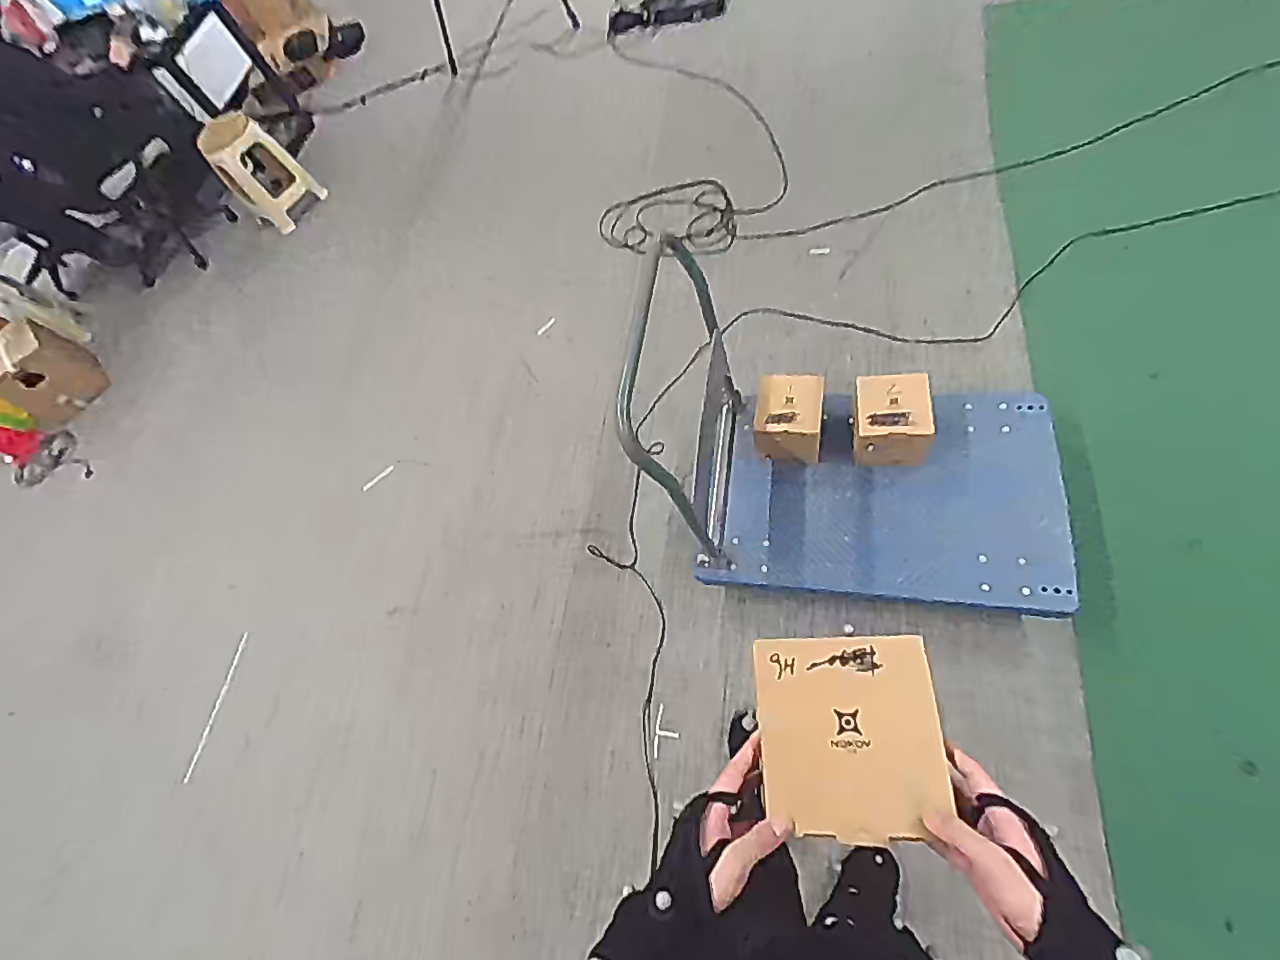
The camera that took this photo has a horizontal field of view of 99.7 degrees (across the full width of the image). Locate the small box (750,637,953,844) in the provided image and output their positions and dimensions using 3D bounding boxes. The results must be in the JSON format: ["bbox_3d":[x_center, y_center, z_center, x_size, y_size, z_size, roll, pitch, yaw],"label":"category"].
[{"bbox_3d":[0.208,0.265,0.585,0.168,0.176,0.179,-4,69,9],"label":"small box"}]

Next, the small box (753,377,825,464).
[{"bbox_3d":[0.403,-0.156,1.454,0.168,0.176,0.179,5,66,18],"label":"small box"}]
